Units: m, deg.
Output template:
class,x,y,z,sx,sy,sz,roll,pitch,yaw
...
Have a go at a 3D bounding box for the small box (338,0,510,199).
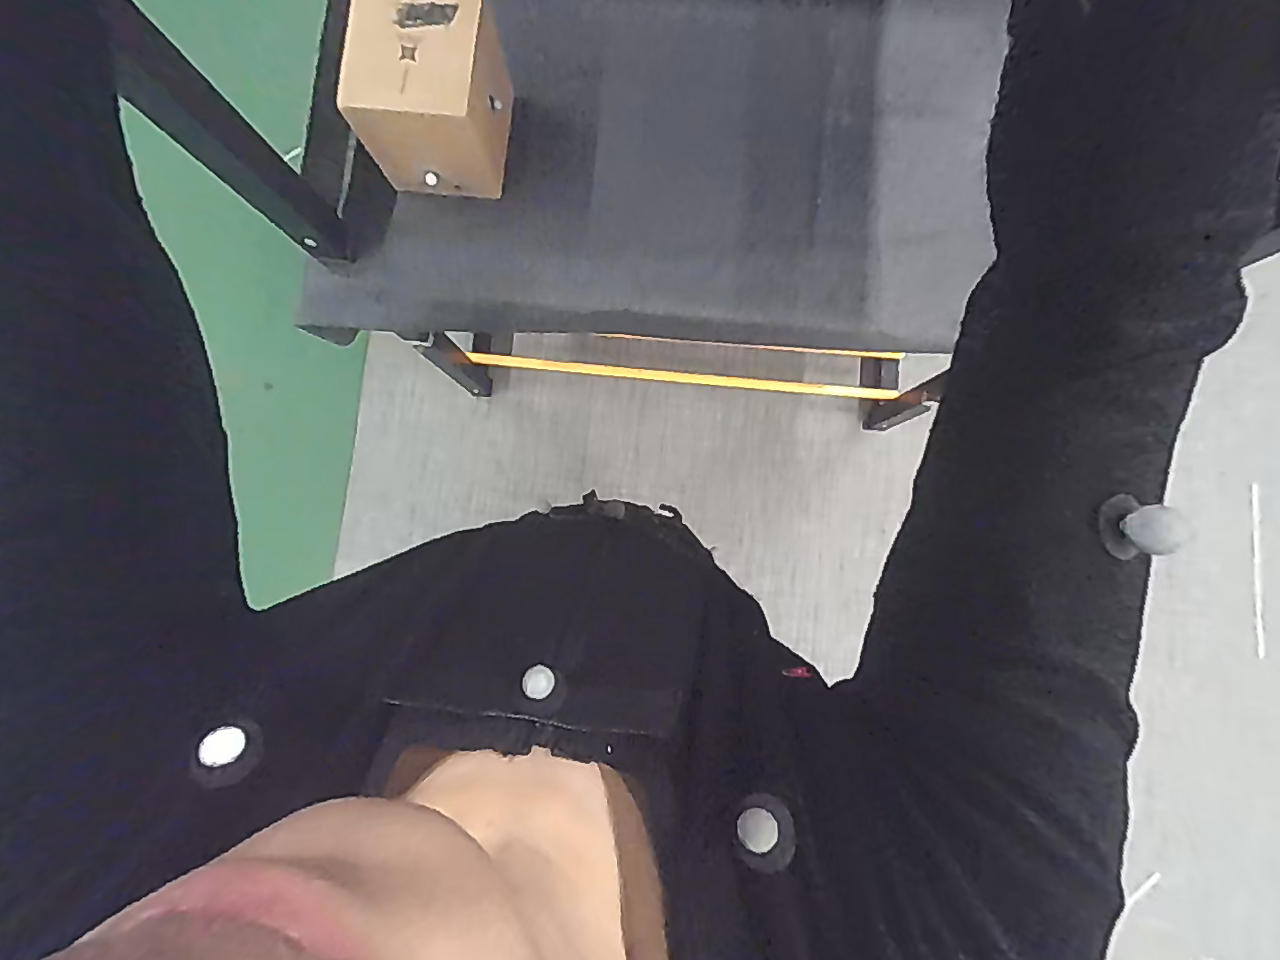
class,x,y,z,sx,sy,sz,roll,pitch,yaw
small box,-0.286,-0.533,0.758,0.168,0.176,0.179,5,84,0
